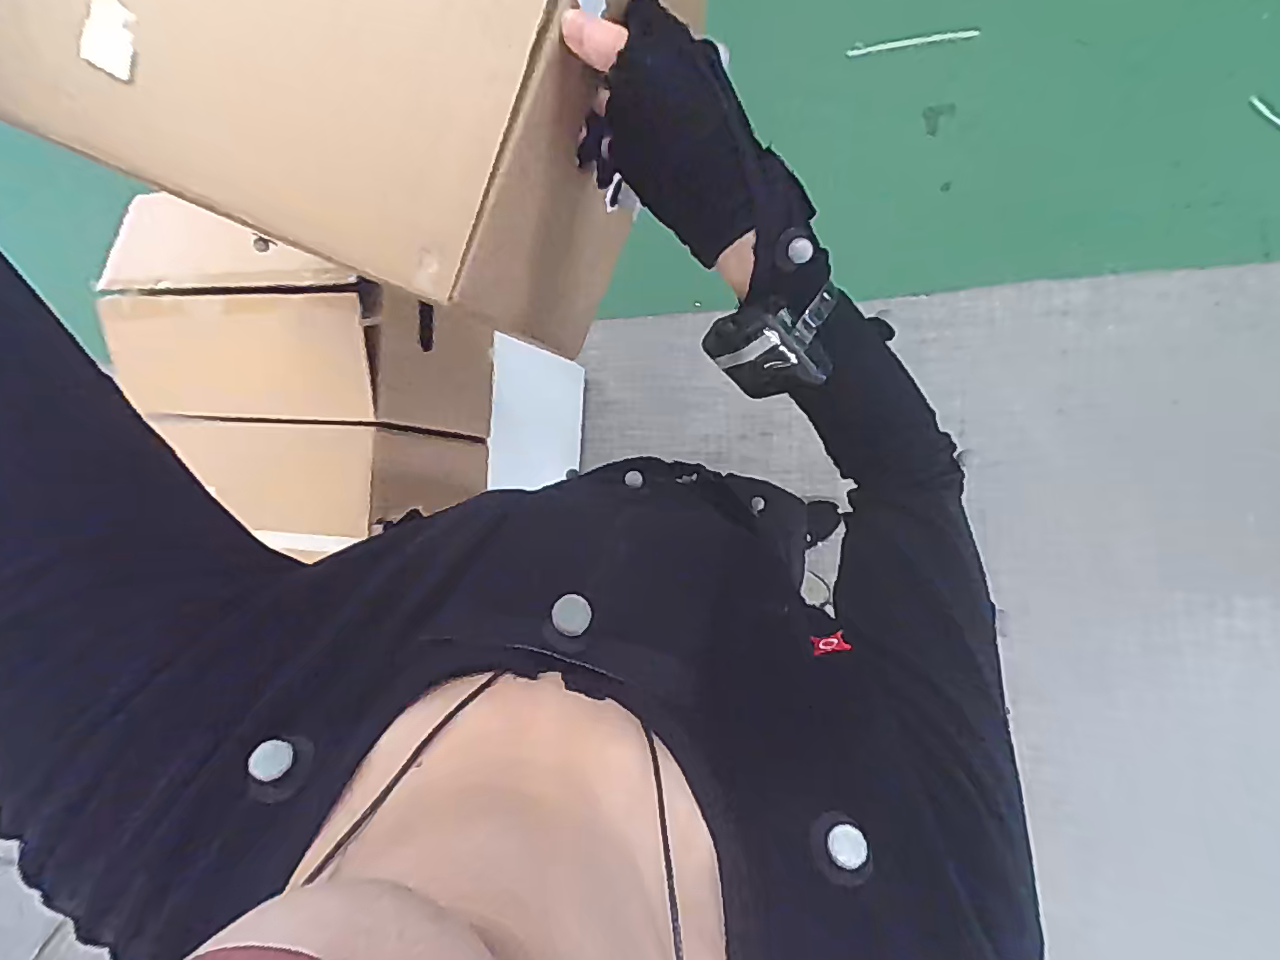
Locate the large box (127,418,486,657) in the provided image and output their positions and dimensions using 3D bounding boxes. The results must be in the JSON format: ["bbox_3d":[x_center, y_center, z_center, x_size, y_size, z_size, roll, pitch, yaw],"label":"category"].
[{"bbox_3d":[-0.502,0.072,0.878,0.408,0.320,0.320,2,90,12],"label":"large box"}]
